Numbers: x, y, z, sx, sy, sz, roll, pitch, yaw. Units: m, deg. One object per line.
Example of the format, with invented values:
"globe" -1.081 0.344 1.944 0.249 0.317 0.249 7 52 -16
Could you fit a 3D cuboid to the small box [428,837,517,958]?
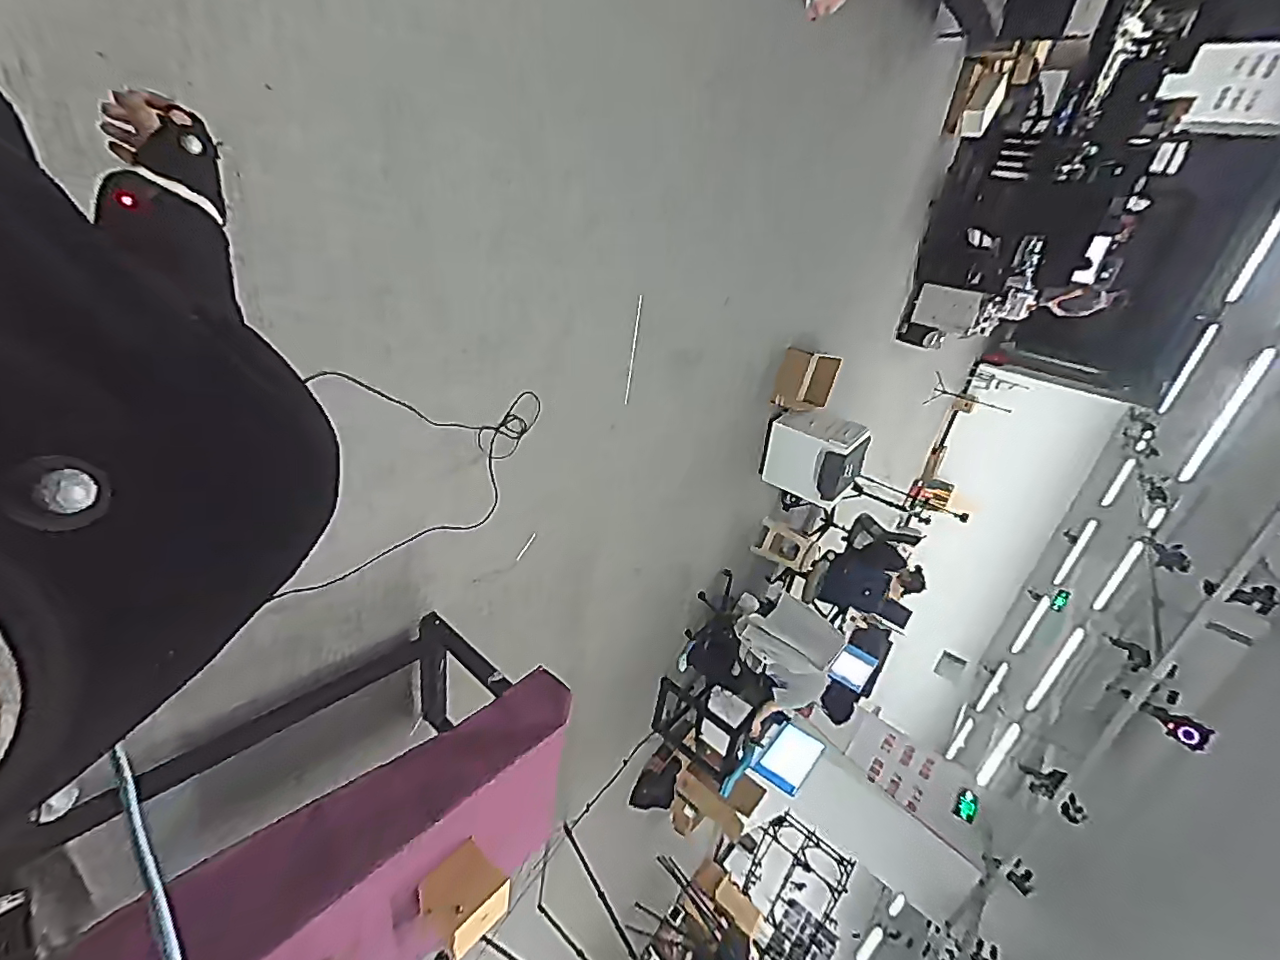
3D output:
"small box" -0.467 1.155 1.511 0.179 0.176 0.168 -22 131 -45
